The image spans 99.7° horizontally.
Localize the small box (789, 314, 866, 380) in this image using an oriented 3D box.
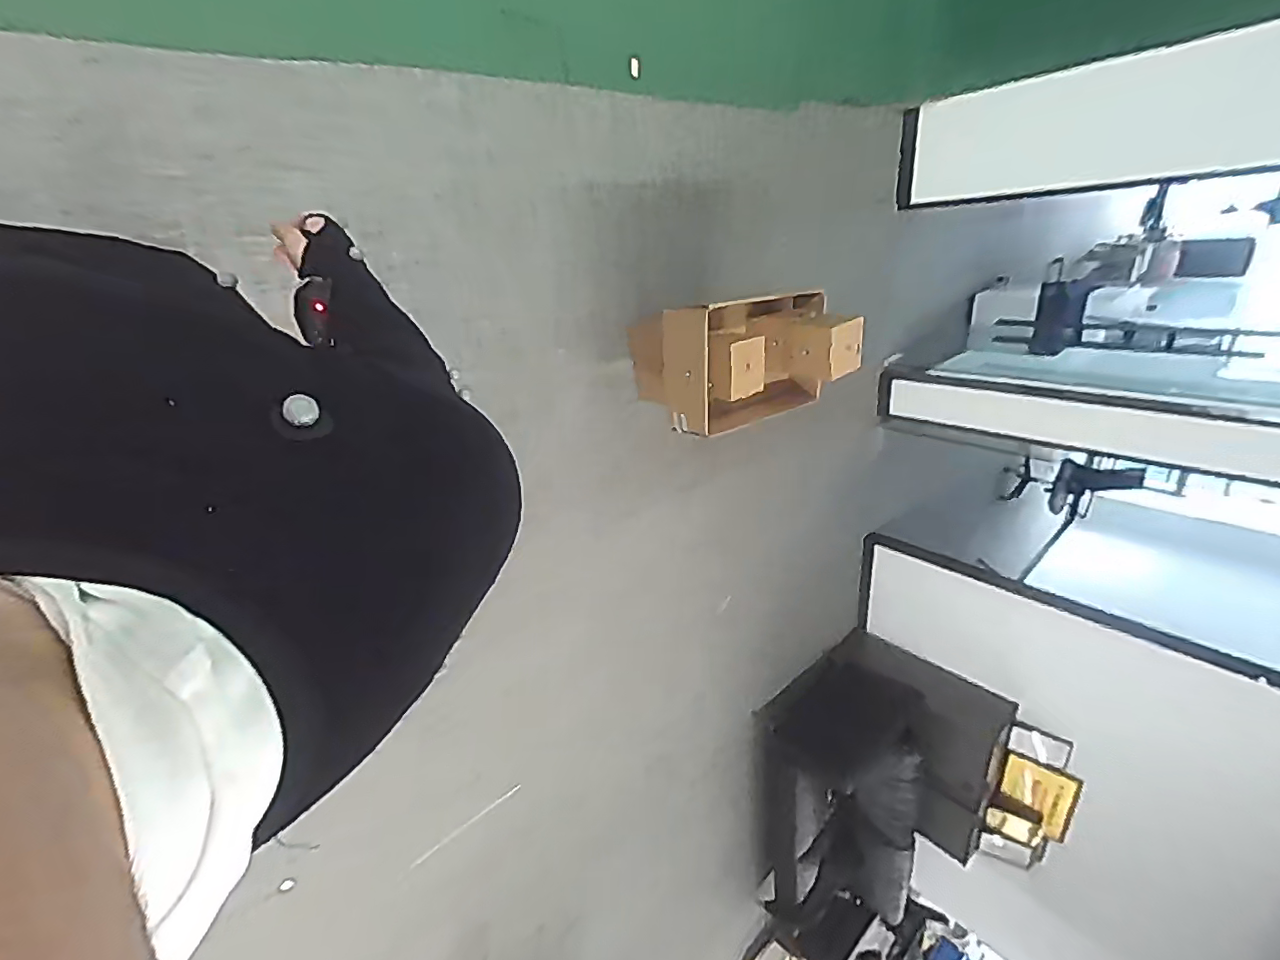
[{"bbox_3d":[0.591,-0.427,1.723,0.179,0.176,0.168,-25,122,-32],"label":"small box"}]
